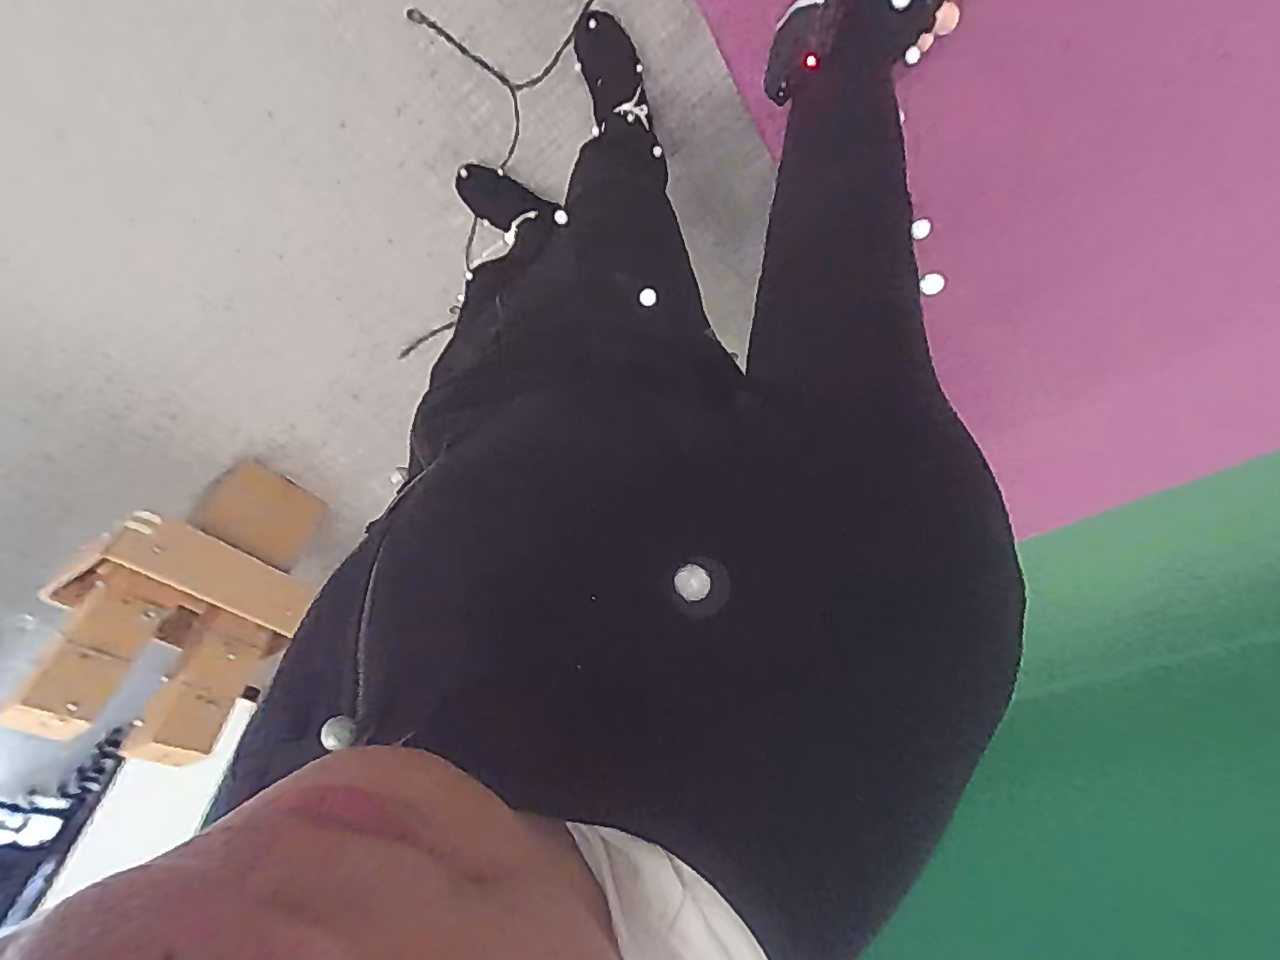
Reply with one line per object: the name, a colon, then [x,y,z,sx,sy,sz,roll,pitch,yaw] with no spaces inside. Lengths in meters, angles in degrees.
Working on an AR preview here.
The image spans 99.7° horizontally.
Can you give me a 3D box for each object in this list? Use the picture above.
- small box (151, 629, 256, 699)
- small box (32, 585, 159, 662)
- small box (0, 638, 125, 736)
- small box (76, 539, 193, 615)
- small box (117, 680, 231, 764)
small box: [-1.363,0.595,1.701,0.179,0.176,0.168,-26,132,22]
small box: [-1.513,0.420,1.517,0.179,0.176,0.168,-26,131,23]
small box: [-1.504,0.536,1.401,0.179,0.176,0.168,-26,131,22]
small box: [-1.520,0.309,1.638,0.179,0.176,0.168,-23,132,19]
small box: [-1.357,0.711,1.587,0.179,0.176,0.168,-25,132,22]
